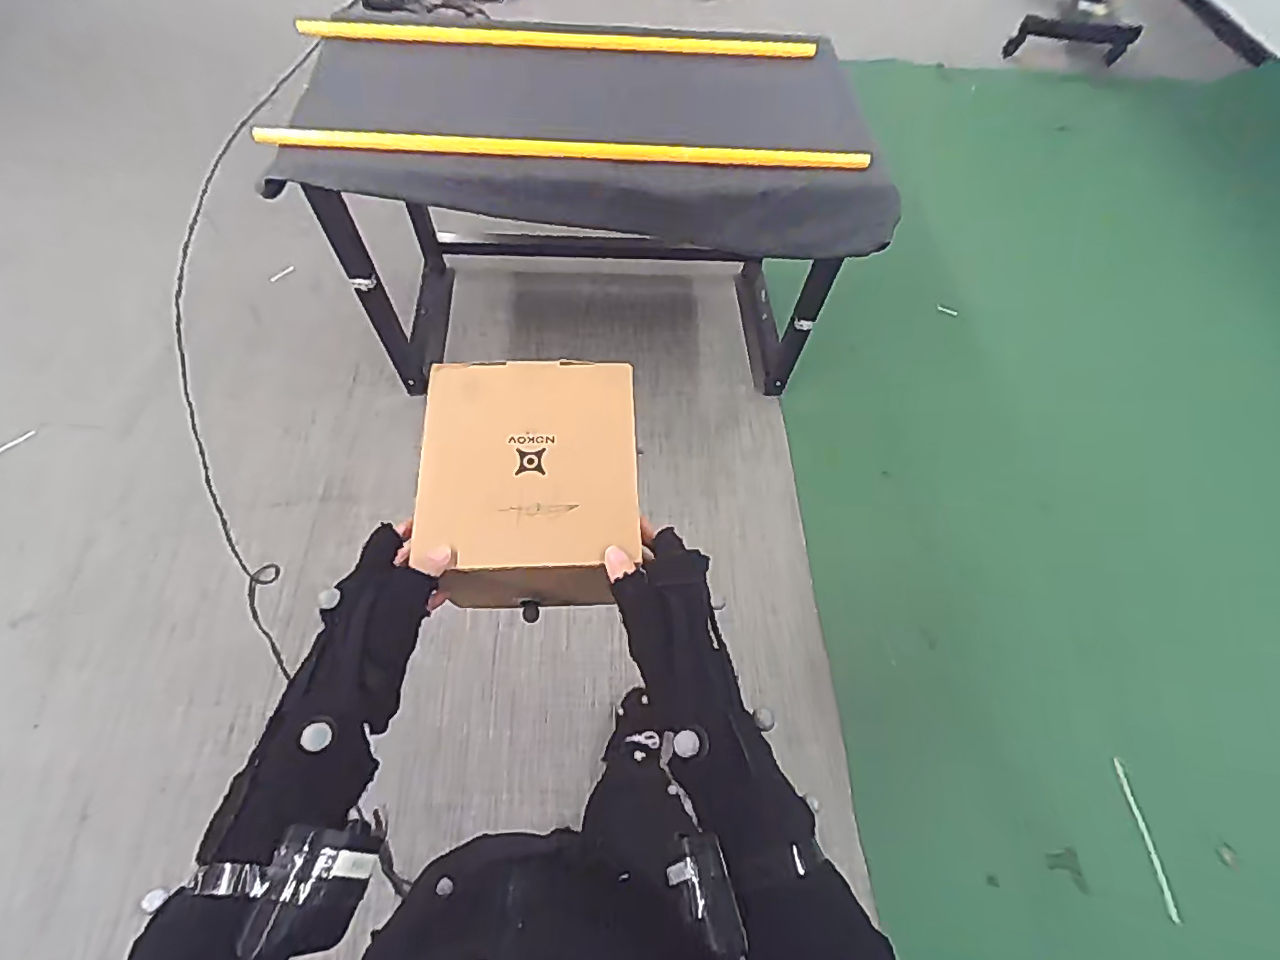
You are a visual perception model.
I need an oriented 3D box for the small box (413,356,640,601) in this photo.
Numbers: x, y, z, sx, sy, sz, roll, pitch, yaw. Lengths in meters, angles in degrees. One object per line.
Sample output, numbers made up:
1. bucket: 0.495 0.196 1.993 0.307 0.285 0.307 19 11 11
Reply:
1. small box: -0.090 0.007 0.496 0.168 0.176 0.179 -1 68 -5
